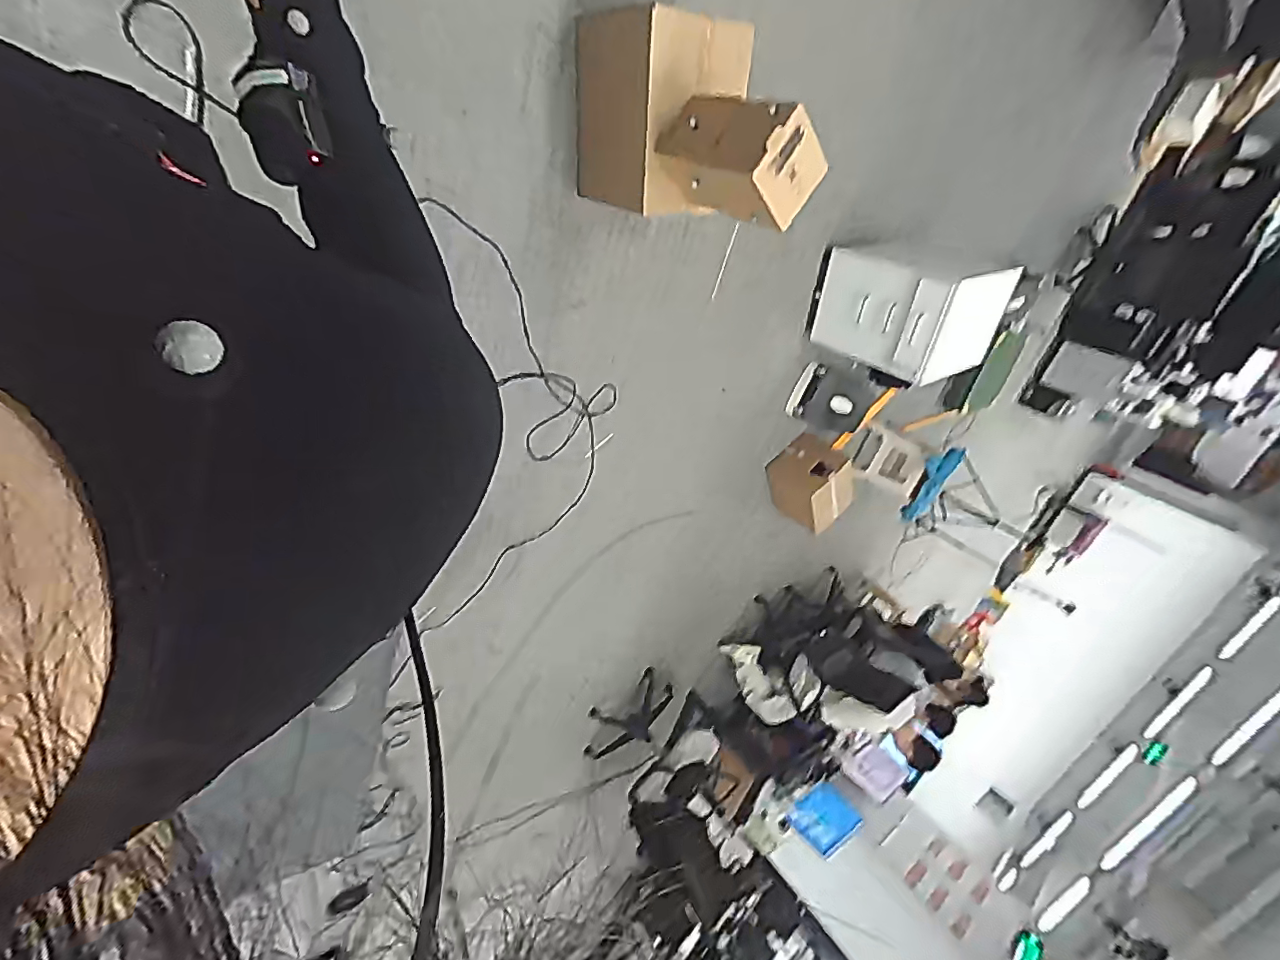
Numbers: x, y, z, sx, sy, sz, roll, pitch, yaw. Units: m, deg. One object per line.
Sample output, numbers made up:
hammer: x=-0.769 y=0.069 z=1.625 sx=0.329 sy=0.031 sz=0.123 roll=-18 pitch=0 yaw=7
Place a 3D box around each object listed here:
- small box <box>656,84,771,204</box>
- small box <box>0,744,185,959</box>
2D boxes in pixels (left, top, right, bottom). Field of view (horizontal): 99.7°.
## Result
small box: x=0.169 y=-0.789 z=1.276 sx=0.179 sy=0.176 sz=0.168 roll=28 pitch=100 yaw=-48
small box: x=-0.753 y=0.481 z=0.708 sx=0.168 sy=0.176 sz=0.179 roll=-38 pitch=140 yaw=-14
